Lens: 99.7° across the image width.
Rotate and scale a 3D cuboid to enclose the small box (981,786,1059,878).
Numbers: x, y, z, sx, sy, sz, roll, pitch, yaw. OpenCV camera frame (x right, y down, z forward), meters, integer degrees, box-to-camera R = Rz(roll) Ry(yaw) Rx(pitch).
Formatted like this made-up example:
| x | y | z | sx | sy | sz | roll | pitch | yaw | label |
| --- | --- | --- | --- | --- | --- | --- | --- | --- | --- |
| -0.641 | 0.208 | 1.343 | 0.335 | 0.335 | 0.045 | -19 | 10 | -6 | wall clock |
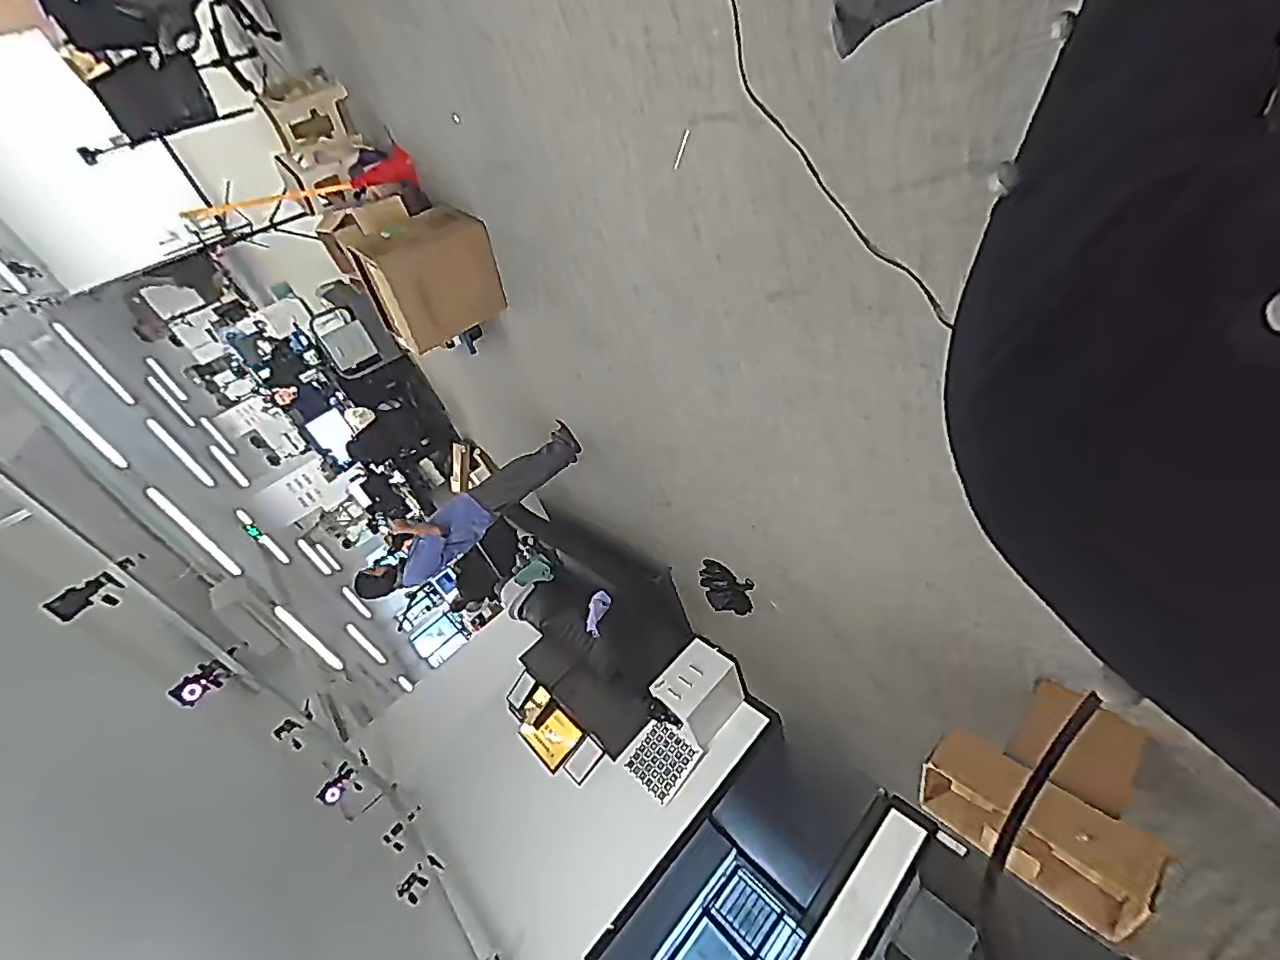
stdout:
| x | y | z | sx | sy | sz | roll | pitch | yaw | label |
| --- | --- | --- | --- | --- | --- | --- | --- | --- | --- |
| 1.278 | 1.176 | 1.818 | 0.168 | 0.176 | 0.179 | 24 | 147 | 46 | small box |
